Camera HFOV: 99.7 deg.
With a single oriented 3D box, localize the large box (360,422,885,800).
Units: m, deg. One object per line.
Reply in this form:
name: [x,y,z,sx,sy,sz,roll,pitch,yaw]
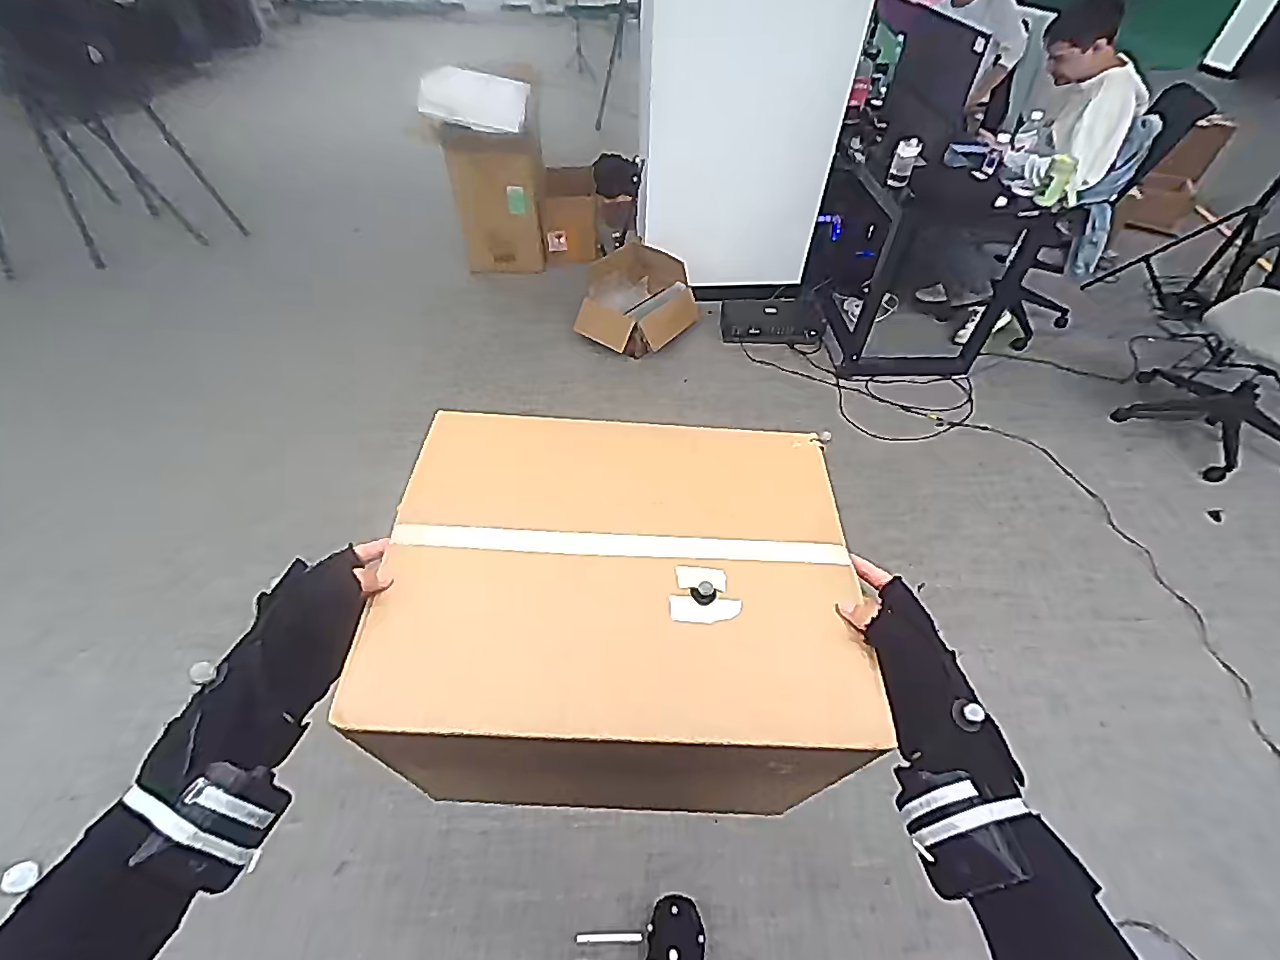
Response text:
large box: [-0.020,0.158,0.610,0.408,0.320,0.320,3,51,-3]
